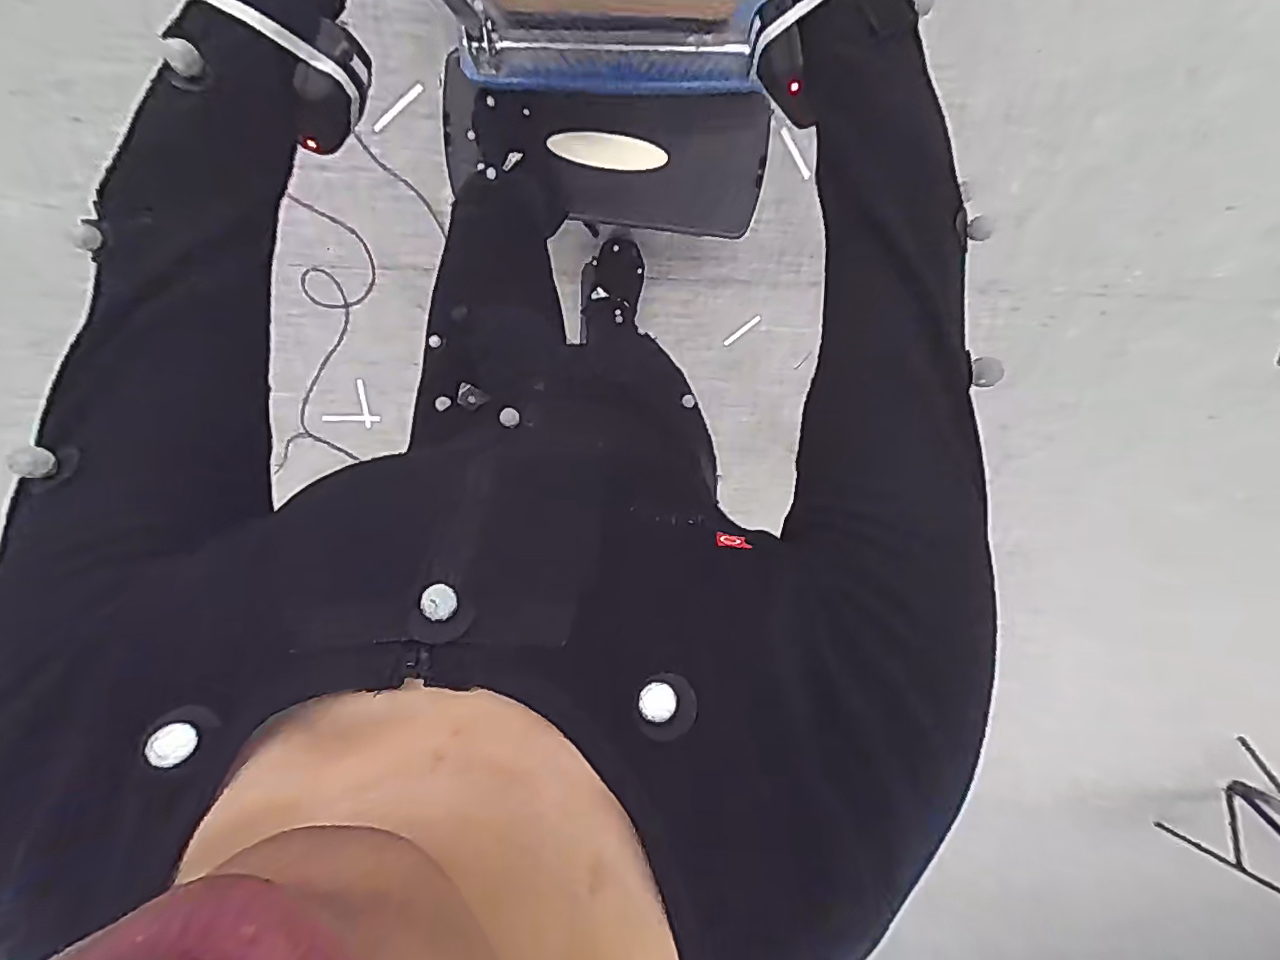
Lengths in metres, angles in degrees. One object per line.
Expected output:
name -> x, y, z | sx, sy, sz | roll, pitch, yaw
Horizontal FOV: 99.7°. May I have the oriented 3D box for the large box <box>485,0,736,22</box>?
large box -> -0.043, -0.852, 0.721 | 0.408, 0.320, 0.320 | -1, 117, -3
